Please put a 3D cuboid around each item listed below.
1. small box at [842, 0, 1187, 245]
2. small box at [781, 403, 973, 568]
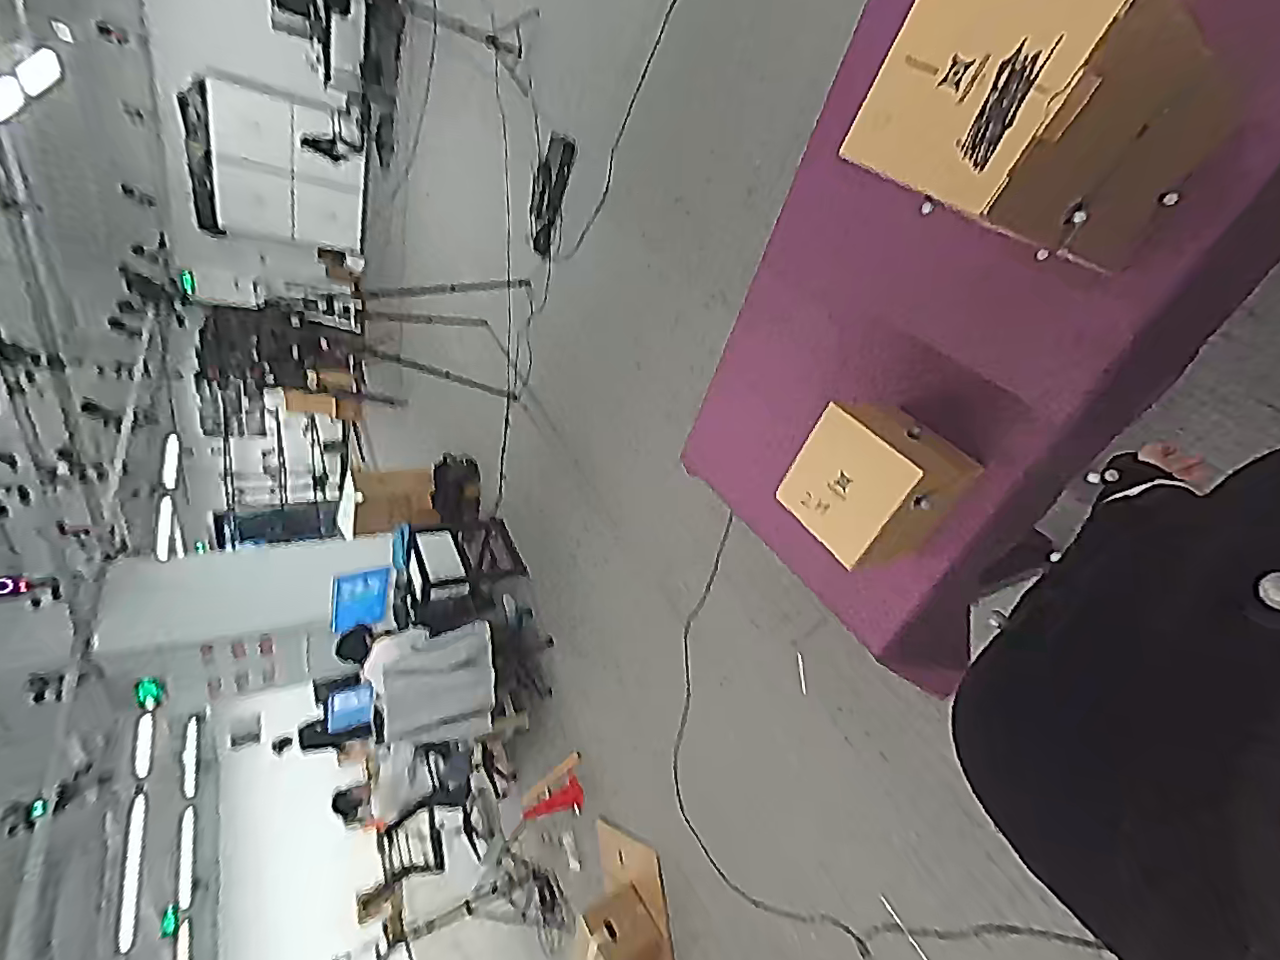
[{"bbox_3d":[0.339,-0.339,0.505,0.179,0.176,0.168,56,135,38],"label":"small box"},{"bbox_3d":[0.352,0.003,0.803,0.168,0.176,0.179,54,133,40],"label":"small box"}]
